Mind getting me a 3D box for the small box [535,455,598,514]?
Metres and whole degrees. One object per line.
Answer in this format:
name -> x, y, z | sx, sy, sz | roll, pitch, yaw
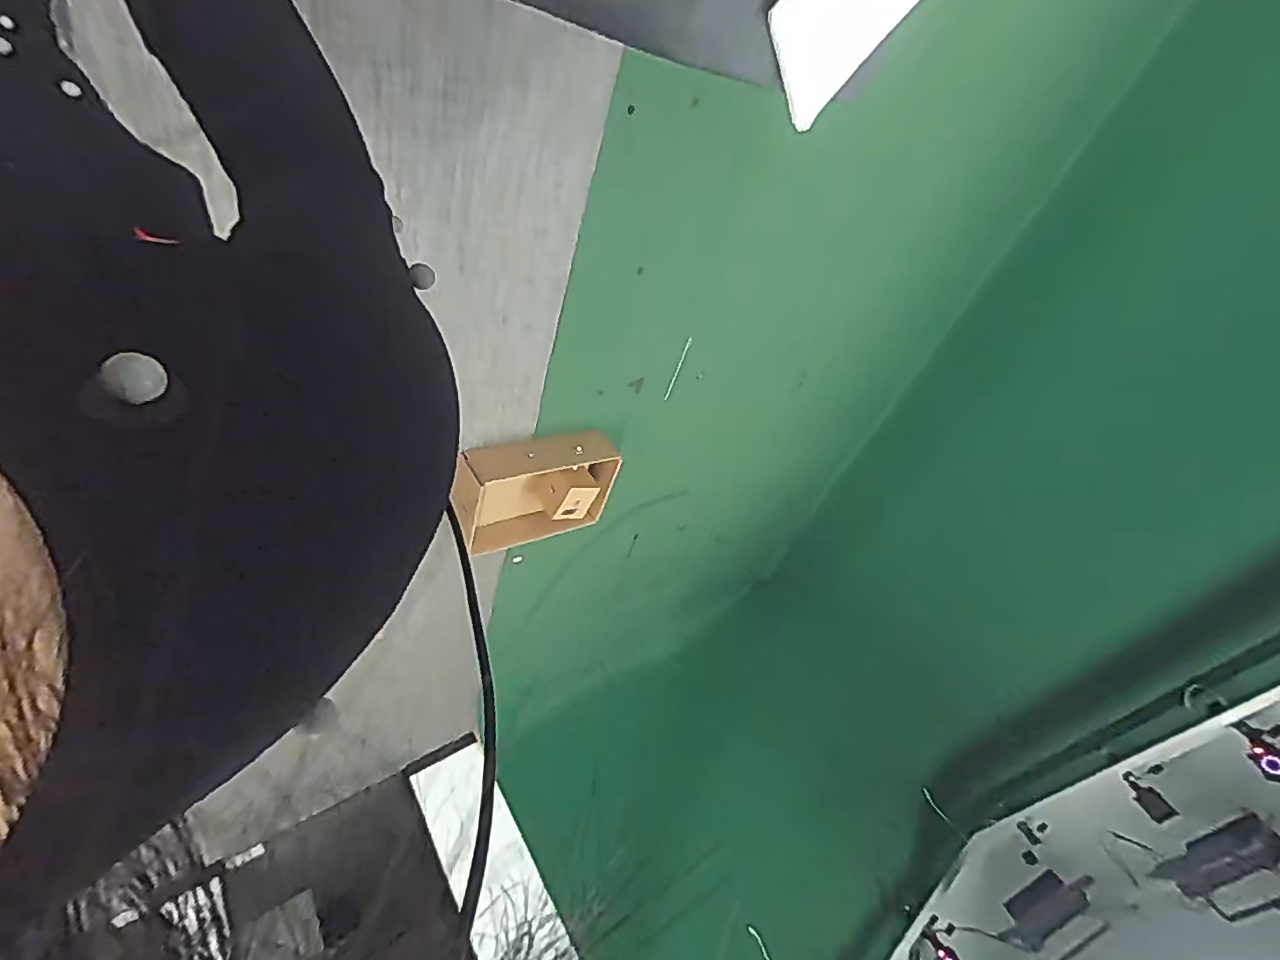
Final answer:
small box -> -0.311, 0.020, 2.227 | 0.168, 0.176, 0.179 | 2, 130, -49
